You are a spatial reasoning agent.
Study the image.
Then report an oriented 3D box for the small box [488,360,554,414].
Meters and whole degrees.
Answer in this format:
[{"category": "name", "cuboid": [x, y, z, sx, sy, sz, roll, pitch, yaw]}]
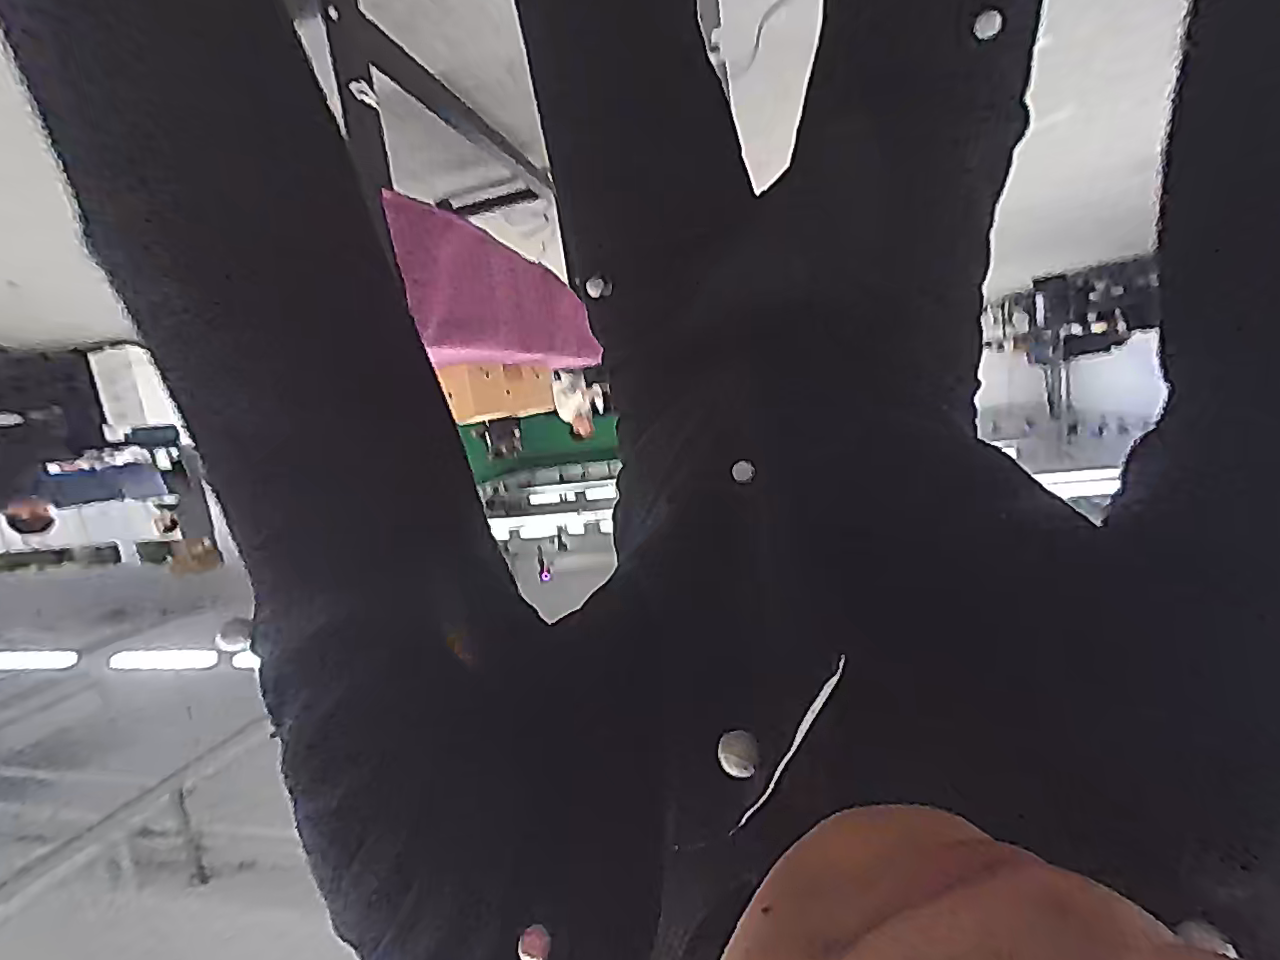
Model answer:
[{"category": "small box", "cuboid": [-0.442, -0.342, 1.993, 0.179, 0.176, 0.168, -4, -170, 28]}]
